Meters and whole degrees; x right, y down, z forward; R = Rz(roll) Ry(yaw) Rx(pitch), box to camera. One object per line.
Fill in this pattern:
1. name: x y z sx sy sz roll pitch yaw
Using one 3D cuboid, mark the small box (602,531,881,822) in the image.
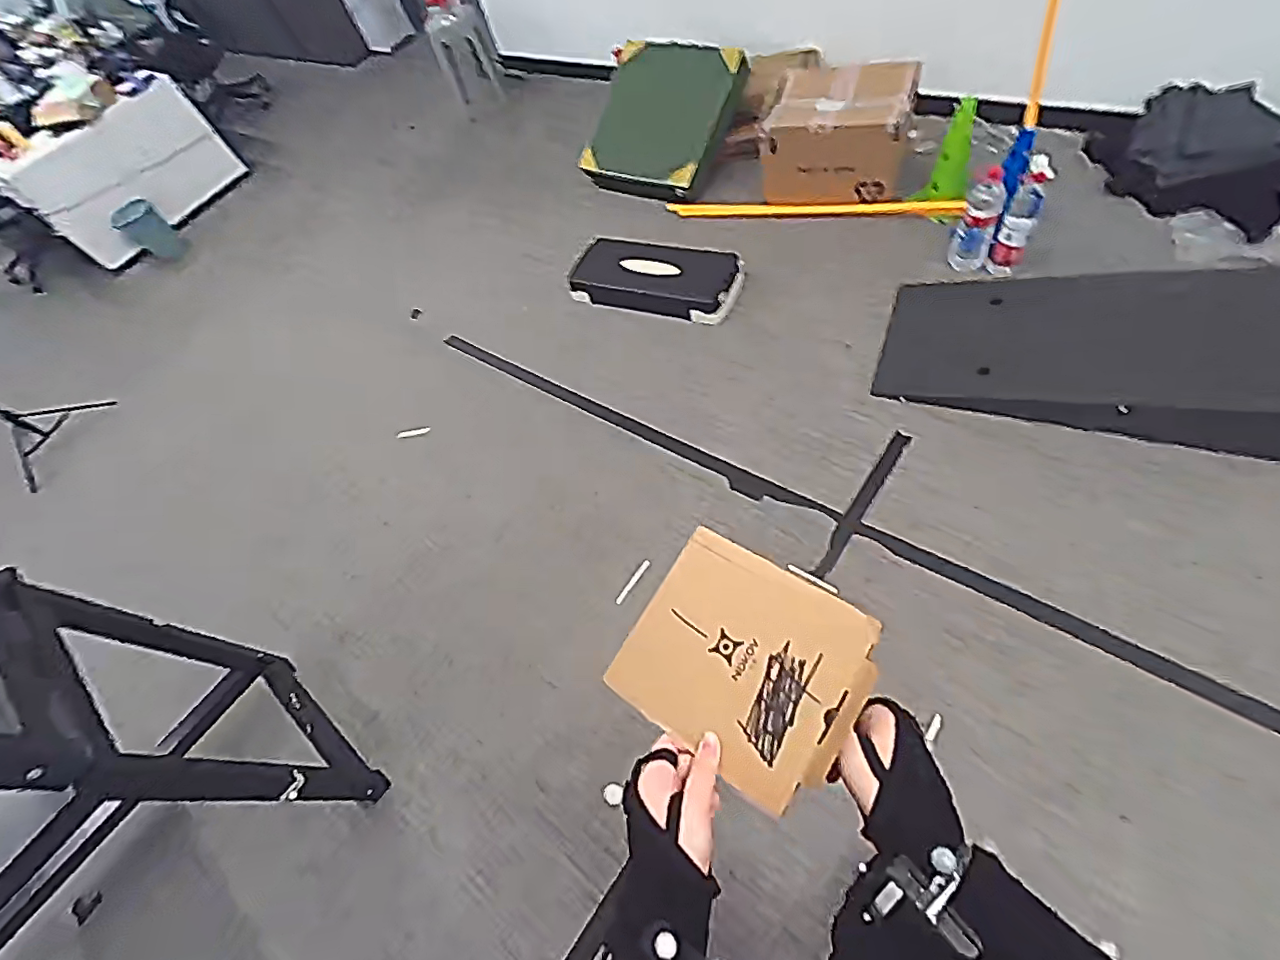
1. small box: 0.097 0.177 0.517 0.179 0.176 0.168 29 78 22
